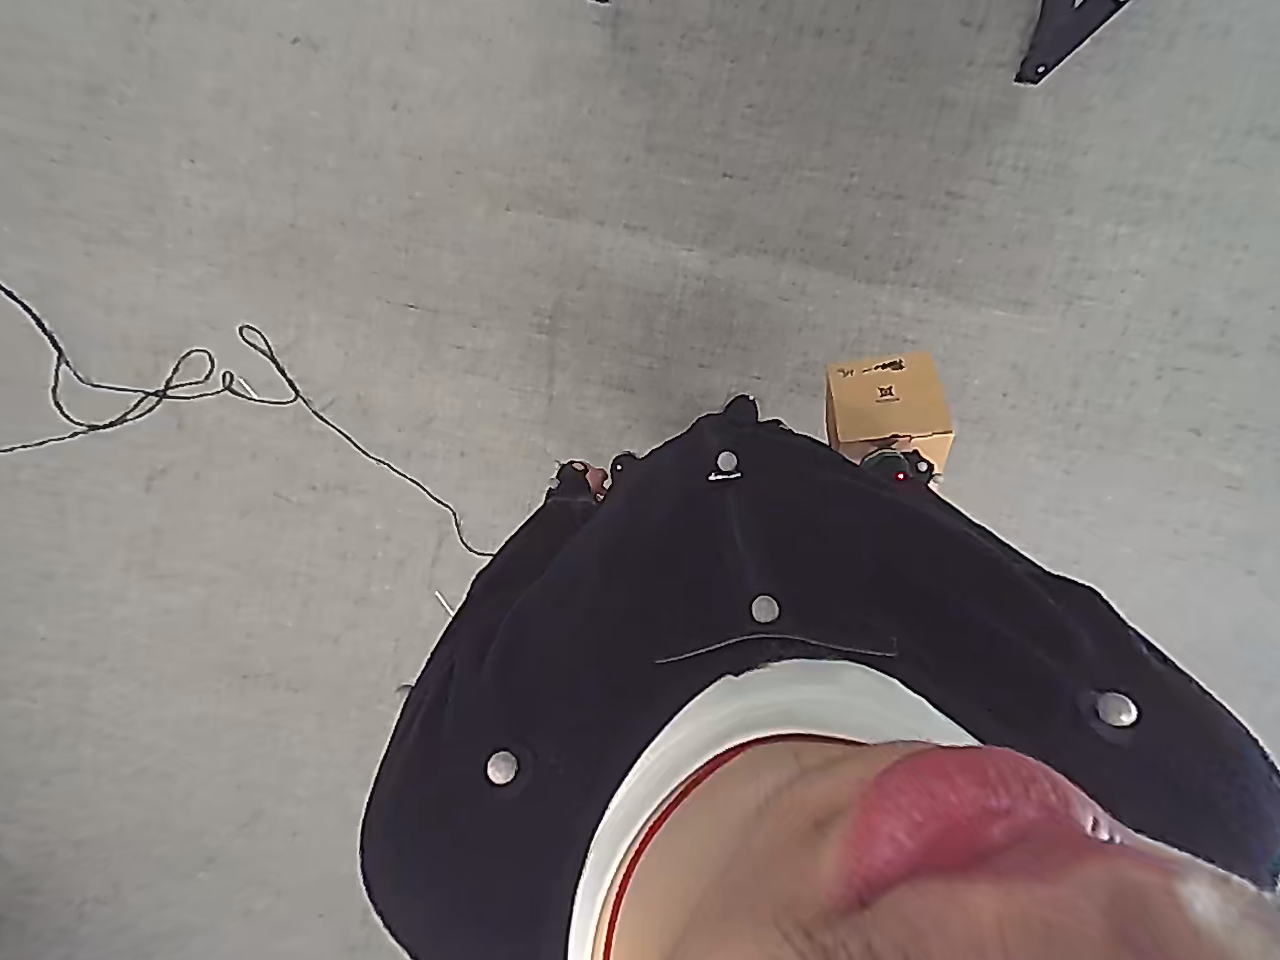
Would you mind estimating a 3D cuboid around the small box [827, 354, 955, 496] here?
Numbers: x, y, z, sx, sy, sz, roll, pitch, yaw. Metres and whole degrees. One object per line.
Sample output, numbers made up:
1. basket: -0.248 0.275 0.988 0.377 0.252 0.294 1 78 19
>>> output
1. small box: 0.424 -0.085 0.936 0.168 0.176 0.179 -7 54 15
